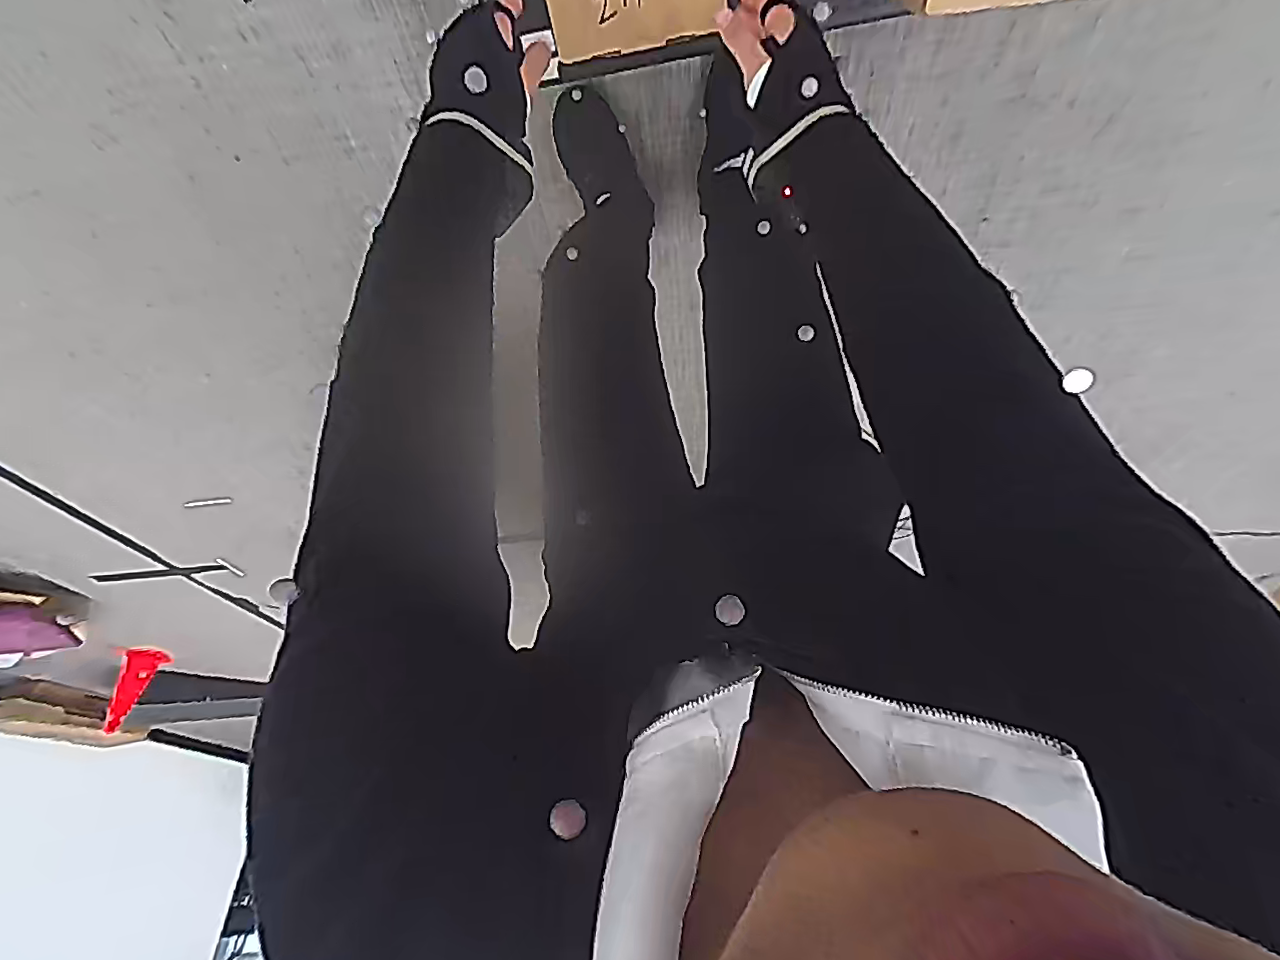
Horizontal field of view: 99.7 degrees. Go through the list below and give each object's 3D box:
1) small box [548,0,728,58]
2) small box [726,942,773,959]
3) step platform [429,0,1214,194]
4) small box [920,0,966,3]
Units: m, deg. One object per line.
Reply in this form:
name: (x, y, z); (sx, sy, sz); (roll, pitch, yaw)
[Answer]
small box: (-0.014, -0.532, 0.496); (0.168, 0.176, 0.179); (-7, 143, 6)
small box: (0.415, 1.830, 2.000); (0.168, 0.176, 0.179); (-8, 146, 10)
step platform: (0.157, -0.498, 0.499); (0.684, 0.204, 0.286); (-8, 143, 5)
small box: (0.271, -0.450, 0.359); (0.179, 0.176, 0.168); (-5, 143, 2)
